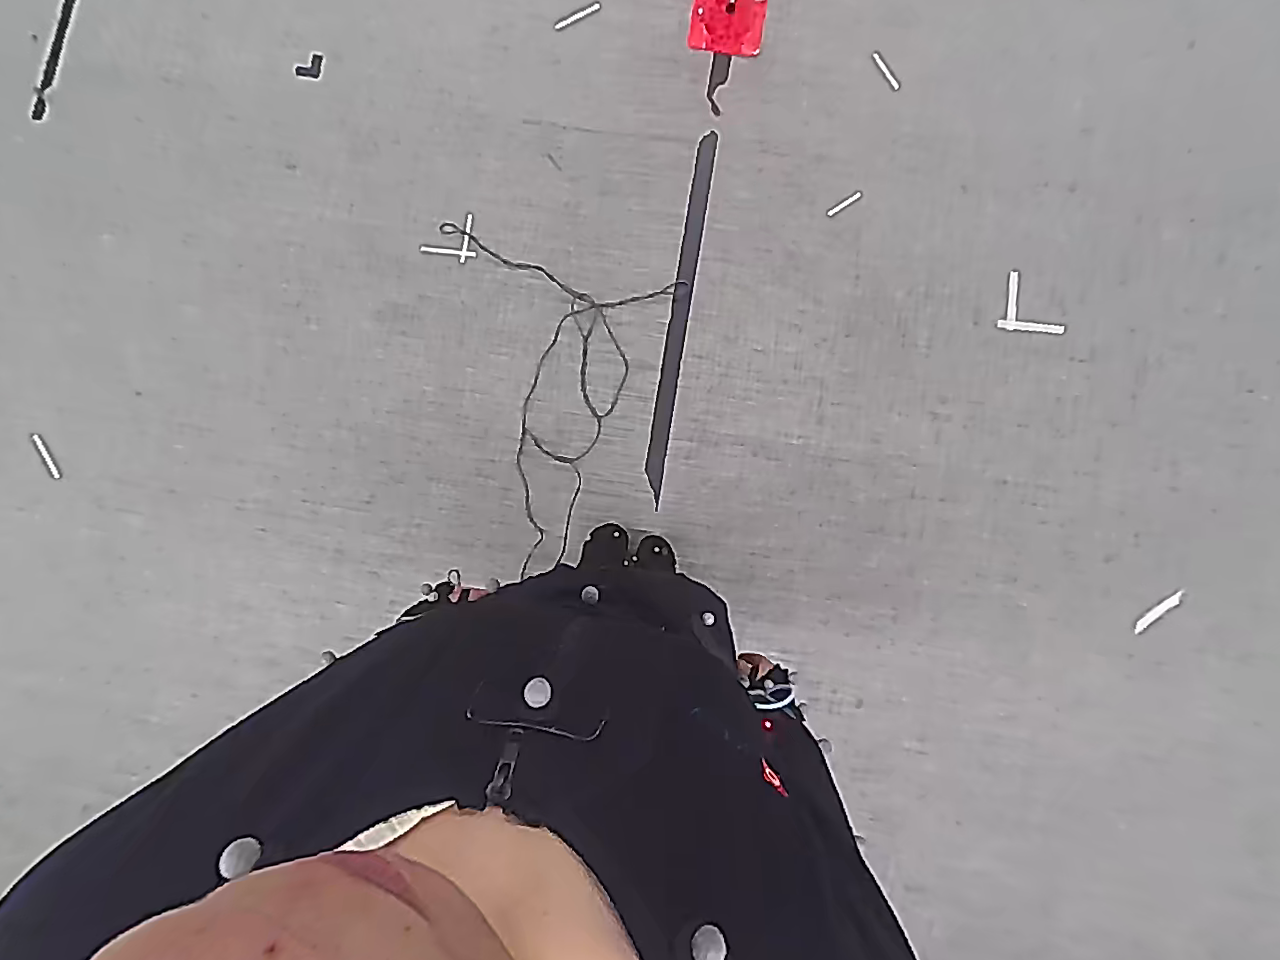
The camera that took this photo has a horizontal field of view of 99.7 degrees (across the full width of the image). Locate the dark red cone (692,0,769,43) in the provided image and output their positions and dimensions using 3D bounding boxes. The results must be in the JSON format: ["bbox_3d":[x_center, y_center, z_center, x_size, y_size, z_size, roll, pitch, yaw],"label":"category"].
[{"bbox_3d":[0.239,-1.283,1.284,0.201,0.394,0.202,8,87,2],"label":"dark red cone"}]
